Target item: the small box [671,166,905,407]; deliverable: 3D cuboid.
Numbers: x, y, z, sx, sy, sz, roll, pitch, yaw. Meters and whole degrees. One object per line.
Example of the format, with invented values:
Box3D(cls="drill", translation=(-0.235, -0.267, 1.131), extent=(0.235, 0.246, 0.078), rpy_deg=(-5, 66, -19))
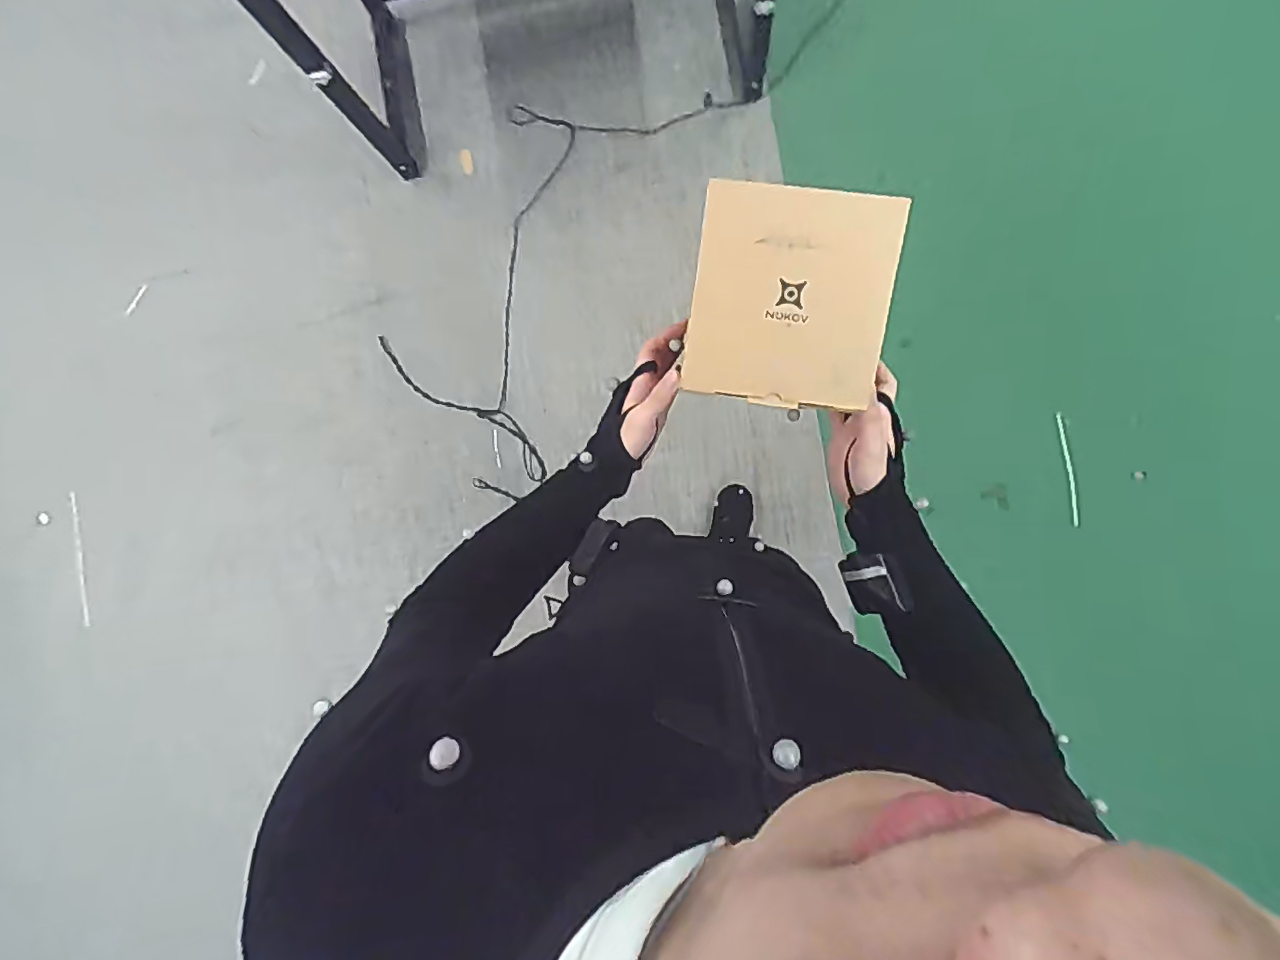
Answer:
Box3D(cls="small box", translation=(0.125, -0.172, 0.526), extent=(0.168, 0.176, 0.179), rpy_deg=(8, 100, 3))
